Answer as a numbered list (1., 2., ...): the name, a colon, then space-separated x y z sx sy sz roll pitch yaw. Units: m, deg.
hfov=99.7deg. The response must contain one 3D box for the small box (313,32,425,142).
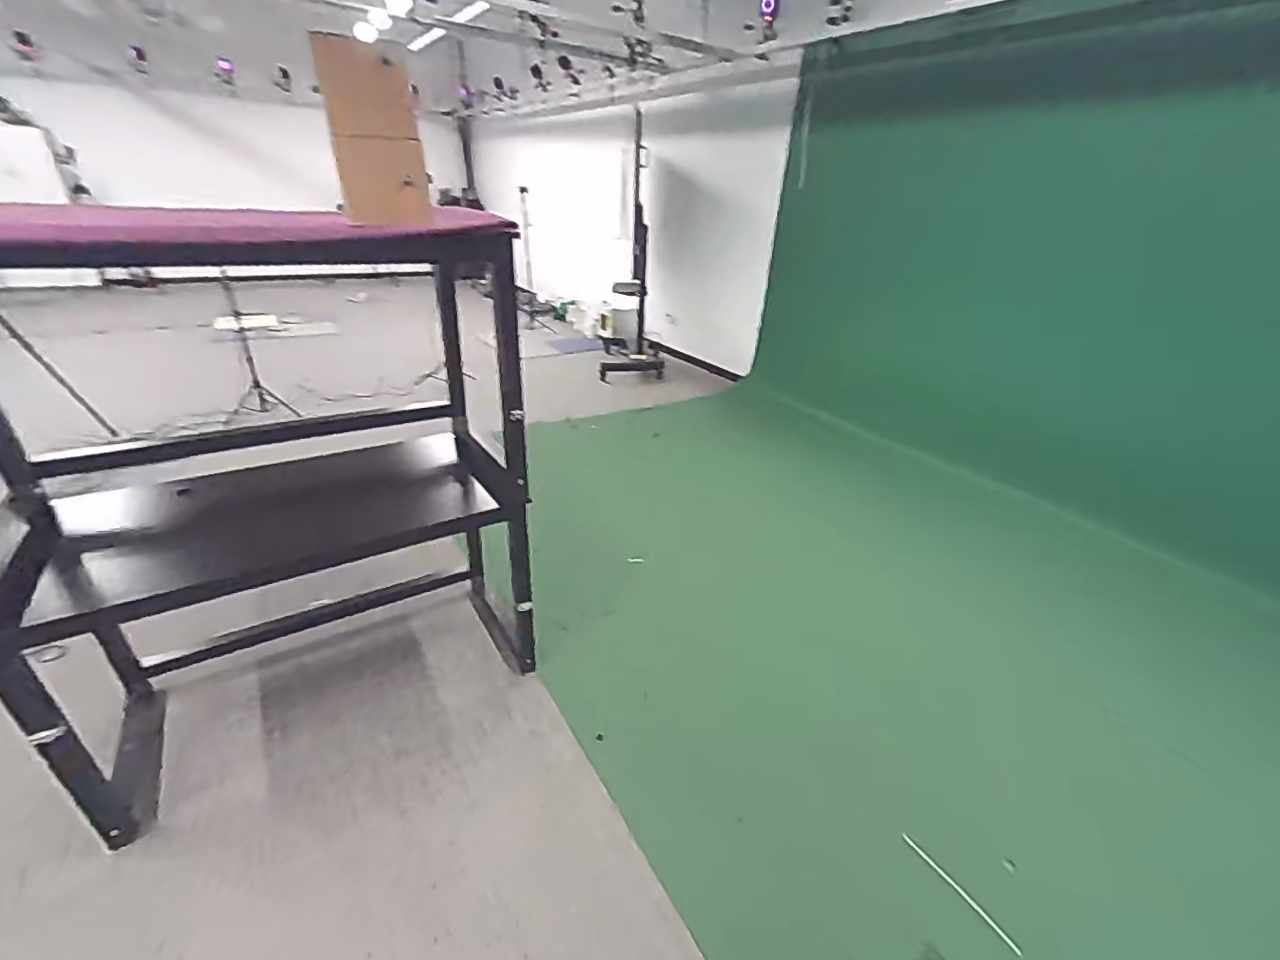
1. small box: -0.563 -0.802 1.136 0.179 0.176 0.168 -11 28 -23

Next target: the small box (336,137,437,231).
1. small box: -0.560 -0.654 1.204 0.179 0.176 0.168 -14 29 -25
